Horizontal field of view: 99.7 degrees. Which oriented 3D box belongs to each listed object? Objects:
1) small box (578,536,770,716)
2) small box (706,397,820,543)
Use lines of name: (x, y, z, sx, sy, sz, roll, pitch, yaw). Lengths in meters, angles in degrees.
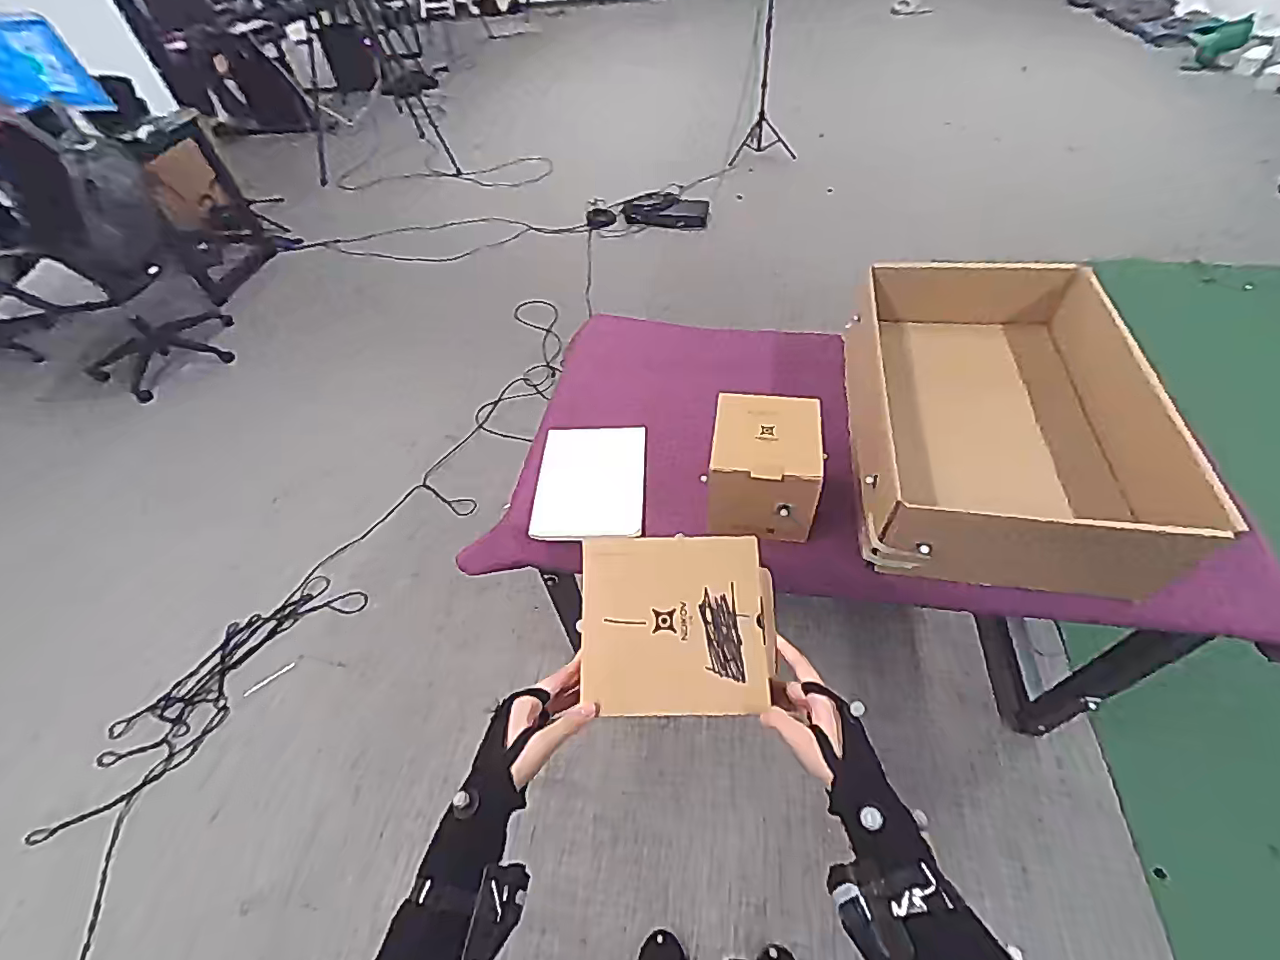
small box: (0.031, 0.160, 0.586, 0.179, 0.176, 0.168, 0, 70, 1)
small box: (0.201, -0.014, 0.901, 0.168, 0.176, 0.179, 6, 49, 10)
